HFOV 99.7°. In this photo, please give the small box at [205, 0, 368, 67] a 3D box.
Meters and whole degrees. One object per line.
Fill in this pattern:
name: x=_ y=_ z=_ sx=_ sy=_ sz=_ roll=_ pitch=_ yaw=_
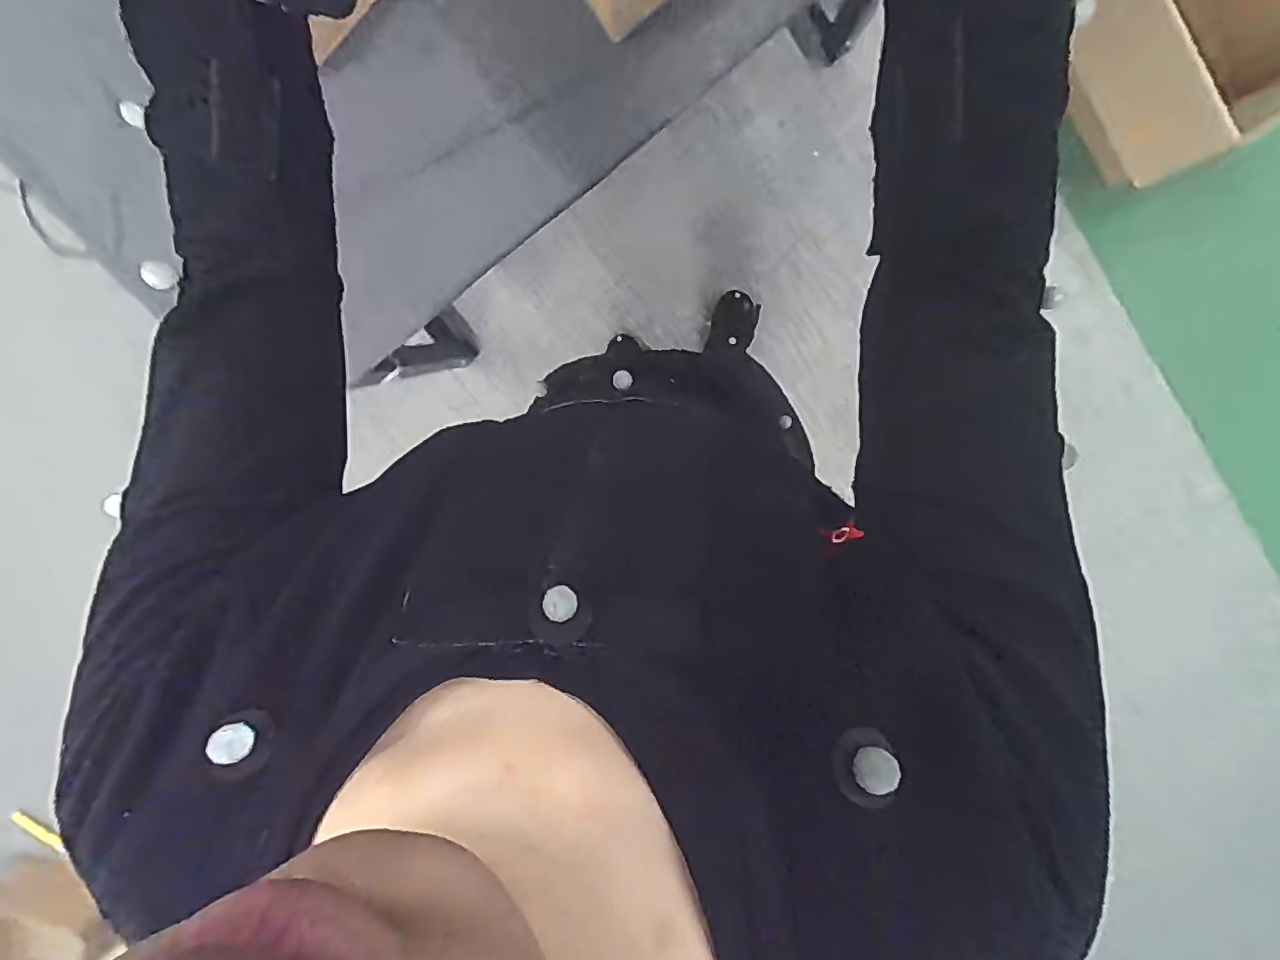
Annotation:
small box: x=-0.372 y=-0.557 z=0.511 sx=0.179 sy=0.176 sz=0.168 roll=-39 pitch=100 yaw=12
